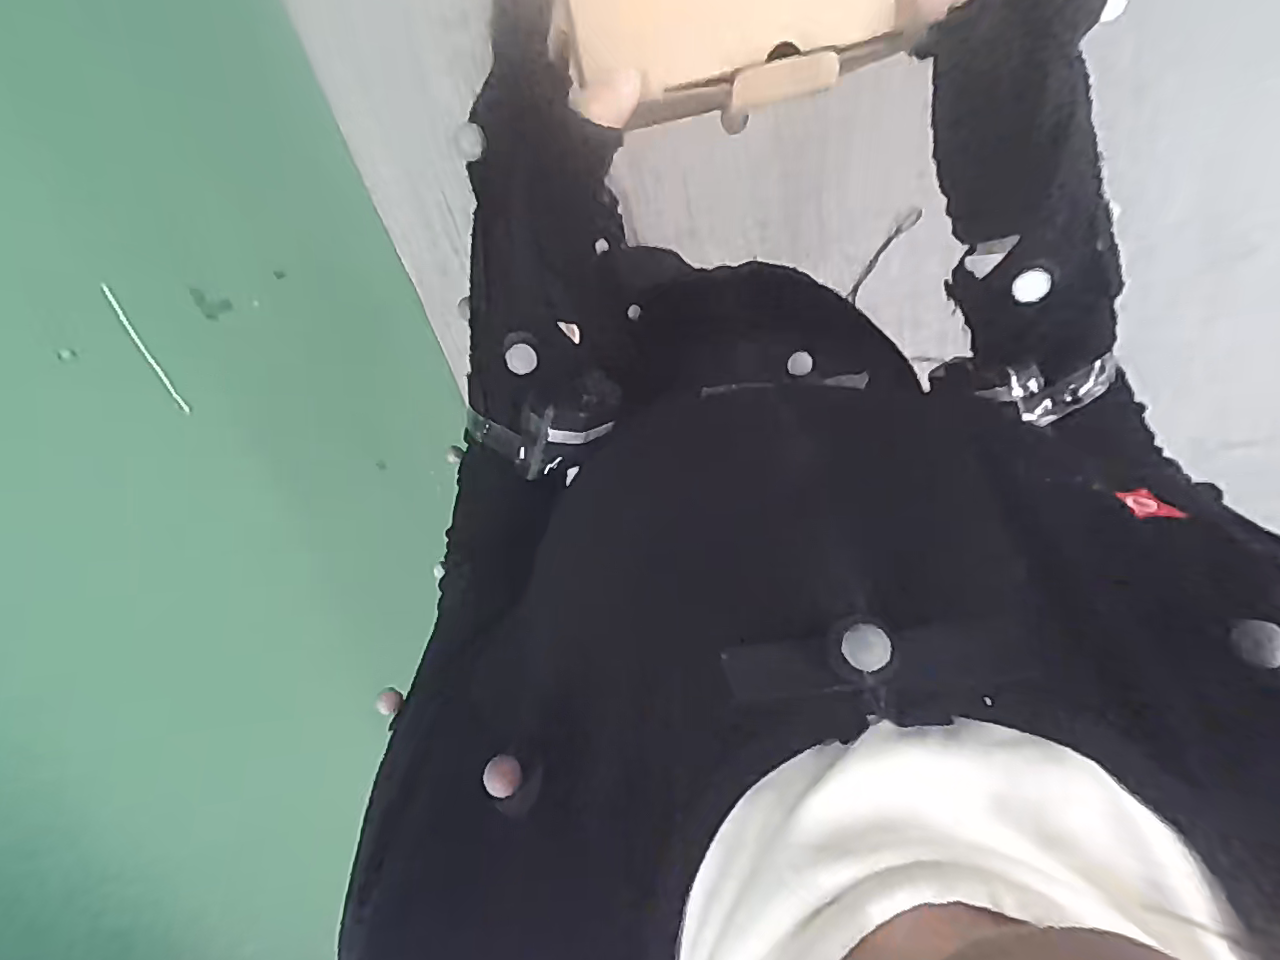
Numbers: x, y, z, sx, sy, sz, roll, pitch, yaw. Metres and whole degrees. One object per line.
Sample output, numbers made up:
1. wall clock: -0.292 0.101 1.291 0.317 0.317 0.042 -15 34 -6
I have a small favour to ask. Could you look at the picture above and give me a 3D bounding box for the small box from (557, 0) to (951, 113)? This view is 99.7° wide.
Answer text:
1. small box: 0.032 -0.294 0.259 0.168 0.176 0.179 -12 121 2
